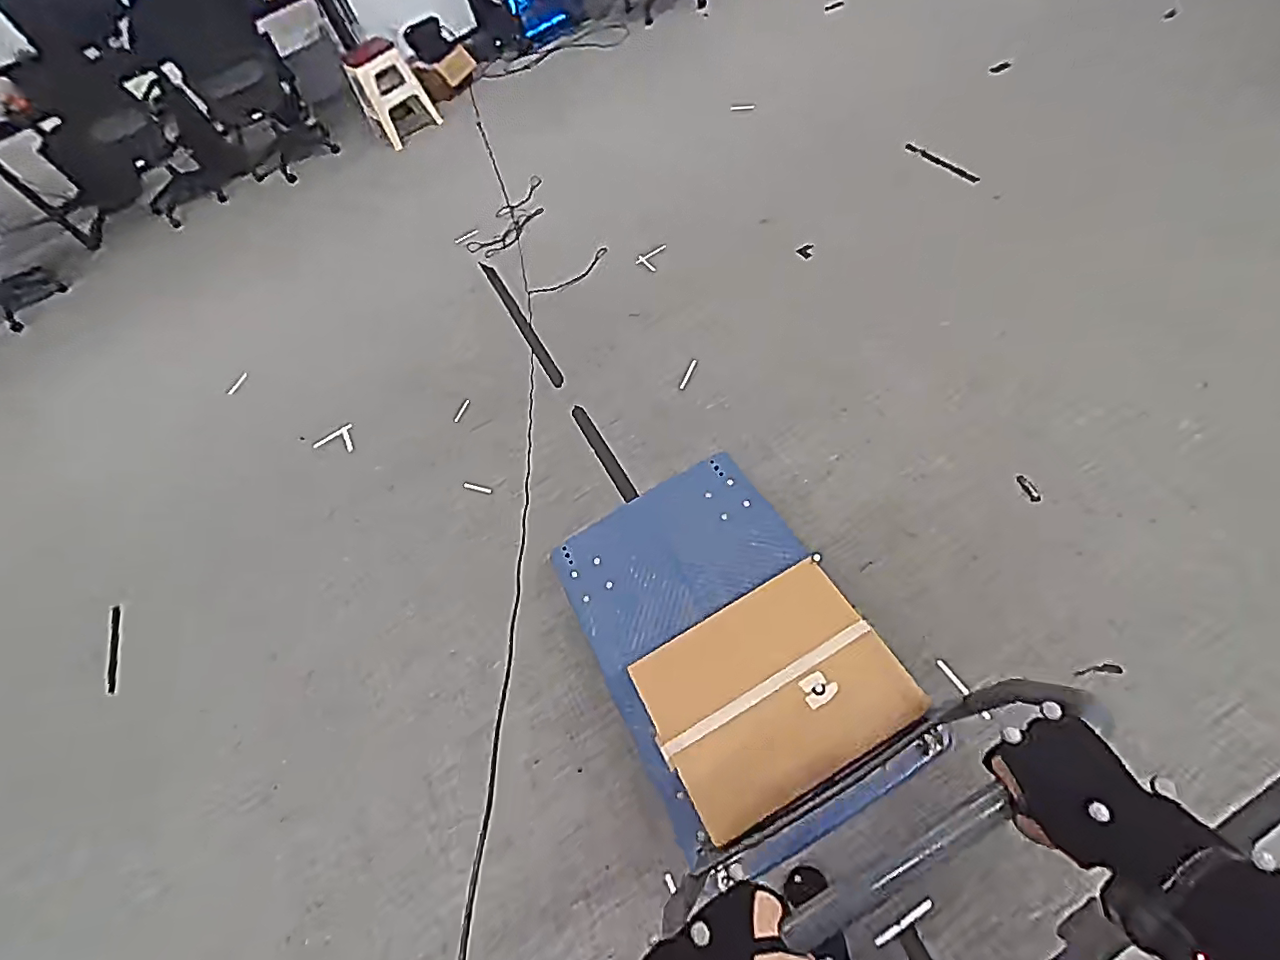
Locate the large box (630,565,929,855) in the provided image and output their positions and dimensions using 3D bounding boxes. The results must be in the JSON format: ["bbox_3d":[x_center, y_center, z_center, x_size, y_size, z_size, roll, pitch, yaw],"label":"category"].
[{"bbox_3d":[0.249,0.441,1.031,0.408,0.320,0.320,-30,56,-5],"label":"large box"}]
